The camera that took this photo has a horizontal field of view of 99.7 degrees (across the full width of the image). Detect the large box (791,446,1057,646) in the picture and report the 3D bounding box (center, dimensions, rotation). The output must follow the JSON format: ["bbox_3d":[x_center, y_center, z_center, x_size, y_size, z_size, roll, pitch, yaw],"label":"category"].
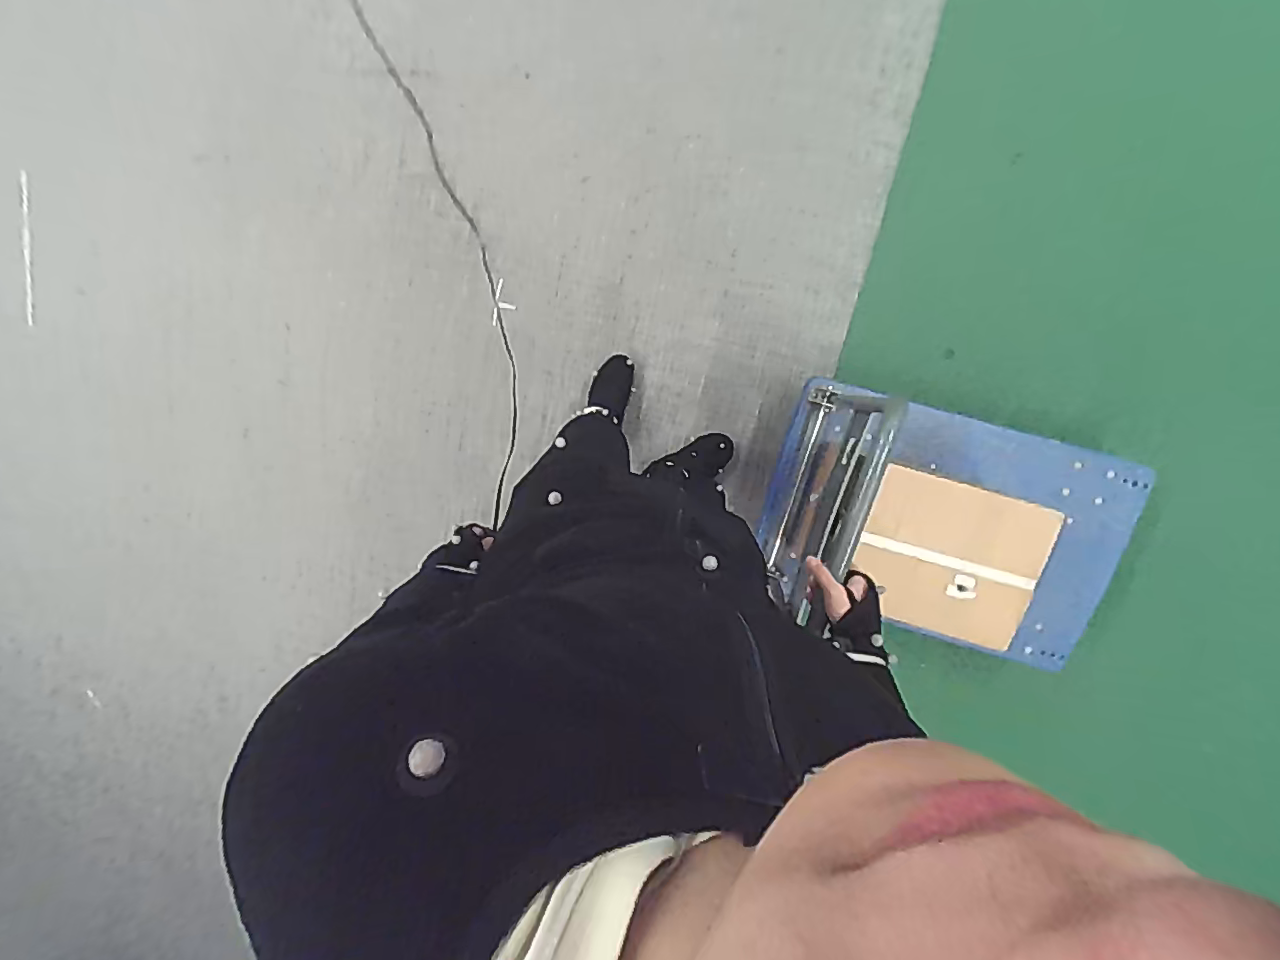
[{"bbox_3d":[0.612,0.128,1.254,0.408,0.320,0.320,17,102,2],"label":"large box"}]
